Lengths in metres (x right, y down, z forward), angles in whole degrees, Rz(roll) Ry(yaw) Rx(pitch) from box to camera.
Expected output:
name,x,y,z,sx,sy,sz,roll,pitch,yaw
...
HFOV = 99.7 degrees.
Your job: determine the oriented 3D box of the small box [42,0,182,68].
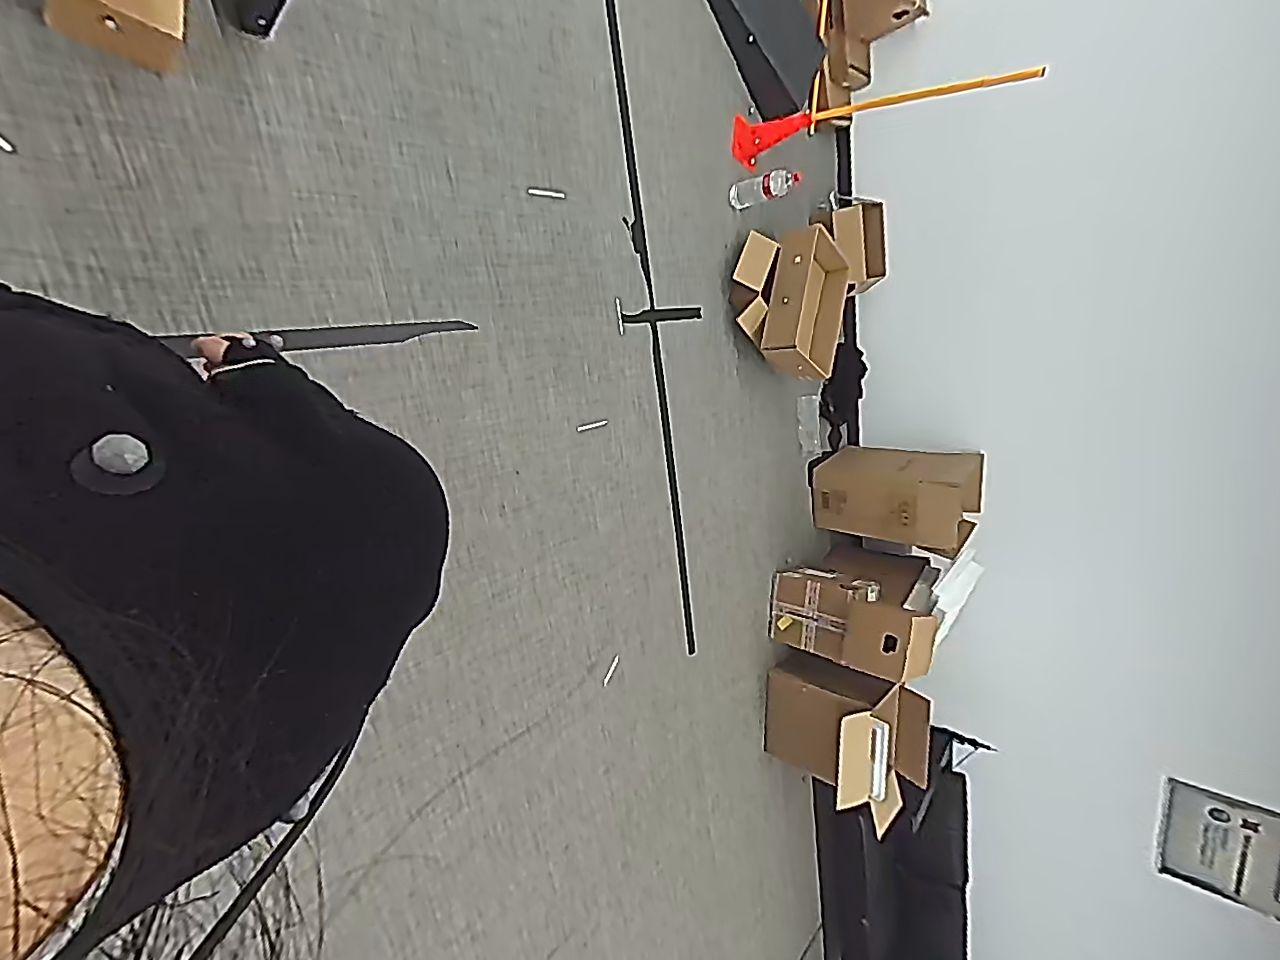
name,x,y,z,sx,sy,sz,roll,pitch,yaw
small box,-0.967,-0.907,0.994,0.179,0.176,0.168,2,94,-46
